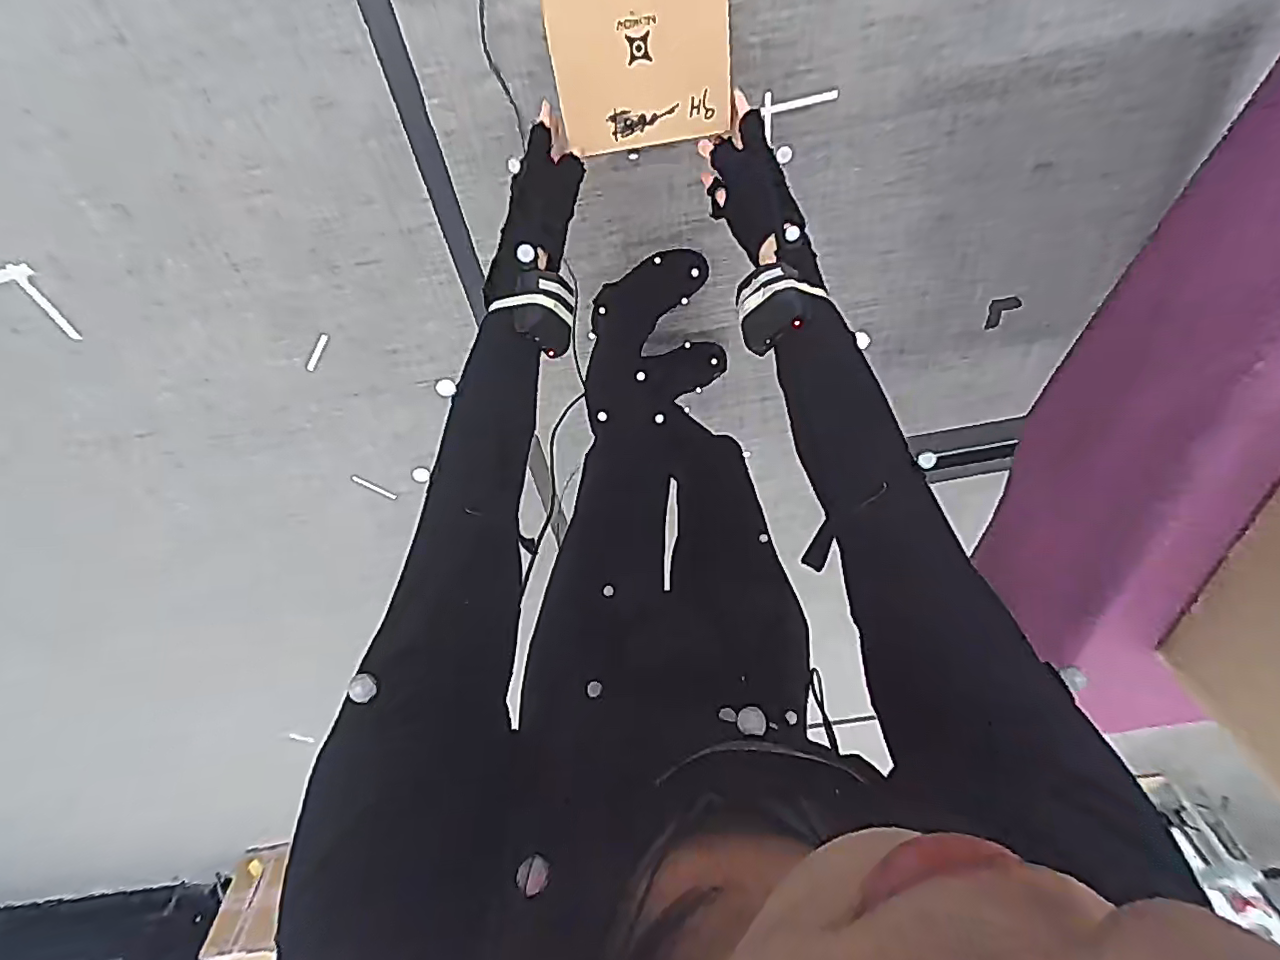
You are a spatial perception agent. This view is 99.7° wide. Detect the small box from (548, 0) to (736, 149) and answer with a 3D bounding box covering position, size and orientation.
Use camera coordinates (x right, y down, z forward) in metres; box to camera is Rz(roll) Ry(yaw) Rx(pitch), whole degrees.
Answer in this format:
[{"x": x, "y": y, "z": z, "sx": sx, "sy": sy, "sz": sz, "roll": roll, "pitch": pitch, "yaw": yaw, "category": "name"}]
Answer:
[{"x": -0.002, "y": -0.454, "z": 0.541, "sx": 0.168, "sy": 0.176, "sz": 0.179, "roll": -8, "pitch": 130, "yaw": 2, "category": "small box"}]
